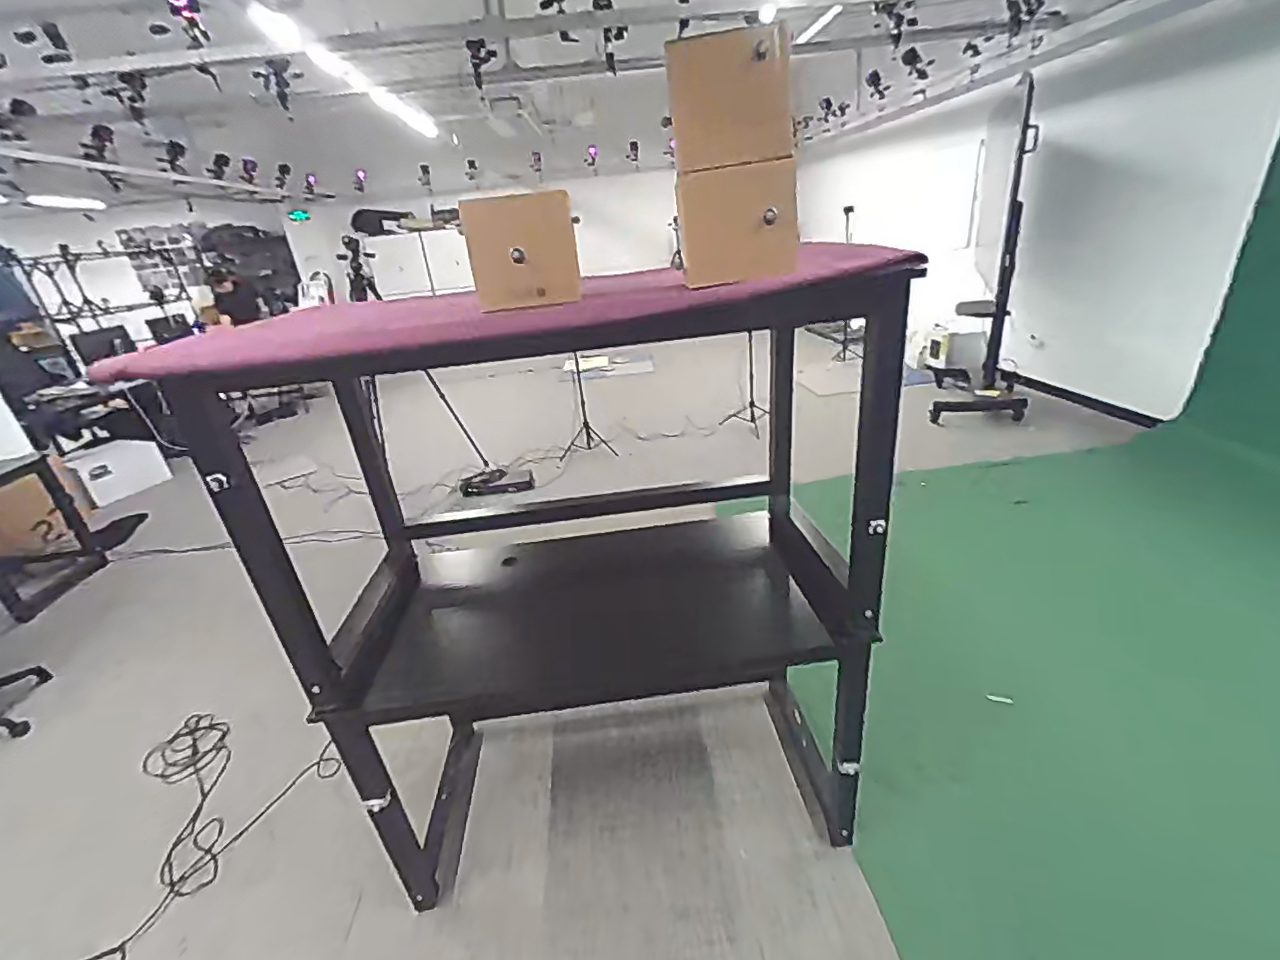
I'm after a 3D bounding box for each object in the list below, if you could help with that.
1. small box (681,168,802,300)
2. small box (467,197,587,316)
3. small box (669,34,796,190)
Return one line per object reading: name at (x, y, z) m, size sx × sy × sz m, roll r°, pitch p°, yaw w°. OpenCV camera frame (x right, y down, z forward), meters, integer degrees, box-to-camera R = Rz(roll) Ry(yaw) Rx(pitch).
small box at (0.165, -0.407, 0.910) m, size 0.179 × 0.176 × 0.168 m, roll -7°, pitch 21°, yaw 4°
small box at (-0.183, -0.381, 0.936) m, size 0.168 × 0.176 × 0.179 m, roll -6°, pitch 23°, yaw -2°
small box at (0.143, -0.559, 0.856) m, size 0.179 × 0.176 × 0.168 m, roll -5°, pitch 21°, yaw 6°
